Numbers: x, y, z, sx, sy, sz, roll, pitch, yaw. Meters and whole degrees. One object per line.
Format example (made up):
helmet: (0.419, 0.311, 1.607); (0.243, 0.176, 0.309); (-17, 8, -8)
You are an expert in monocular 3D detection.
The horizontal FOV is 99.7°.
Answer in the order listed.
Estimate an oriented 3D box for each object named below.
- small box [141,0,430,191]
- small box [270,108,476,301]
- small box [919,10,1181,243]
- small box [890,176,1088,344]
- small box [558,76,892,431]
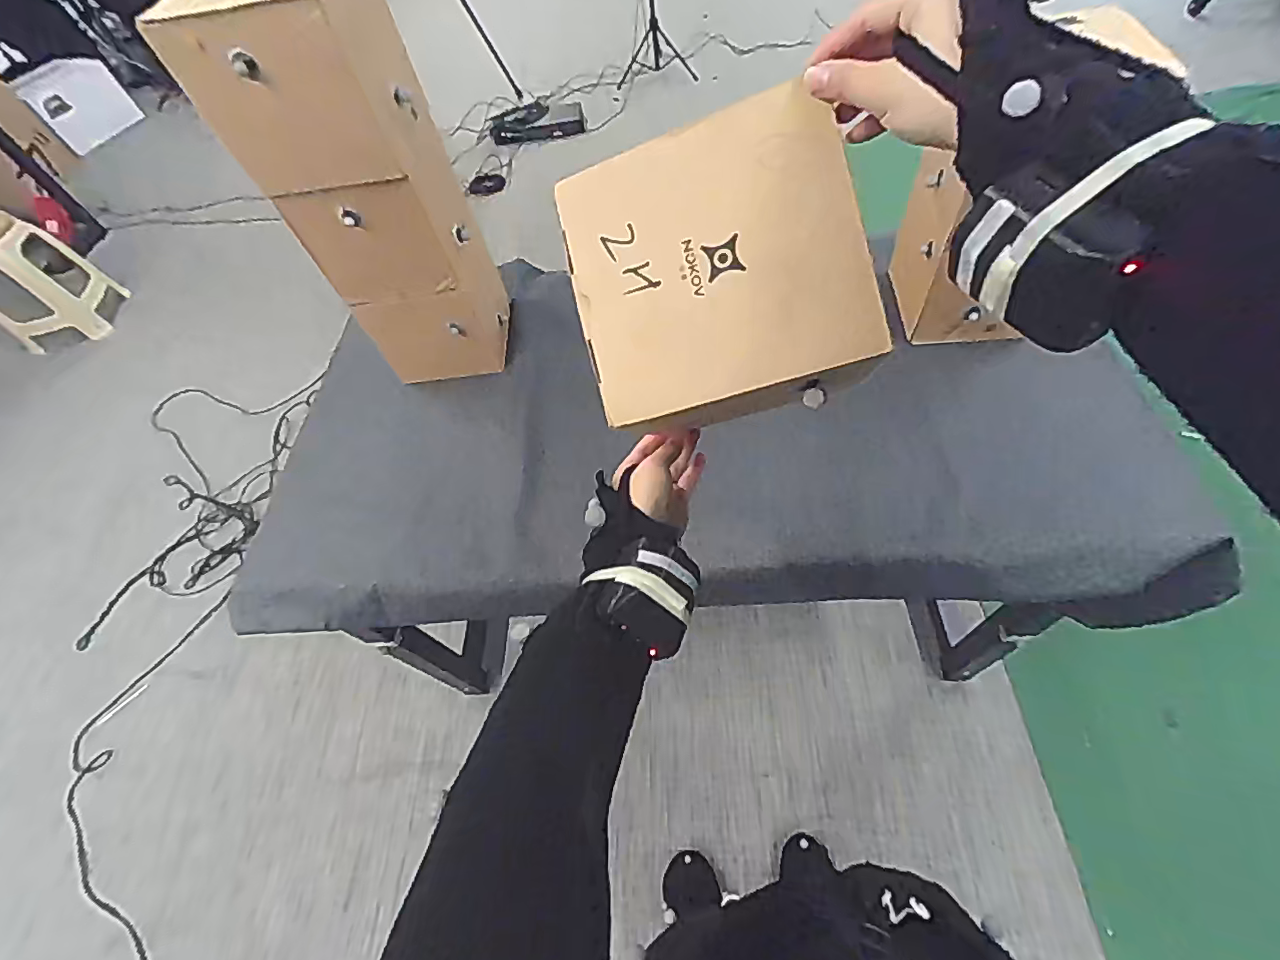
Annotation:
small box: (-0.361, -0.443, 0.592); (0.179, 0.176, 0.168); (-5, 59, 4)
small box: (-0.344, -0.365, 0.736); (0.179, 0.176, 0.168); (-6, 59, 3)
small box: (0.450, -0.399, 0.633); (0.168, 0.176, 0.179); (-1, 59, 8)
small box: (0.475, -0.318, 0.773); (0.168, 0.176, 0.179); (-2, 59, 8)
small box: (0.065, -0.136, 0.402); (0.179, 0.176, 0.168); (-13, 88, 17)
